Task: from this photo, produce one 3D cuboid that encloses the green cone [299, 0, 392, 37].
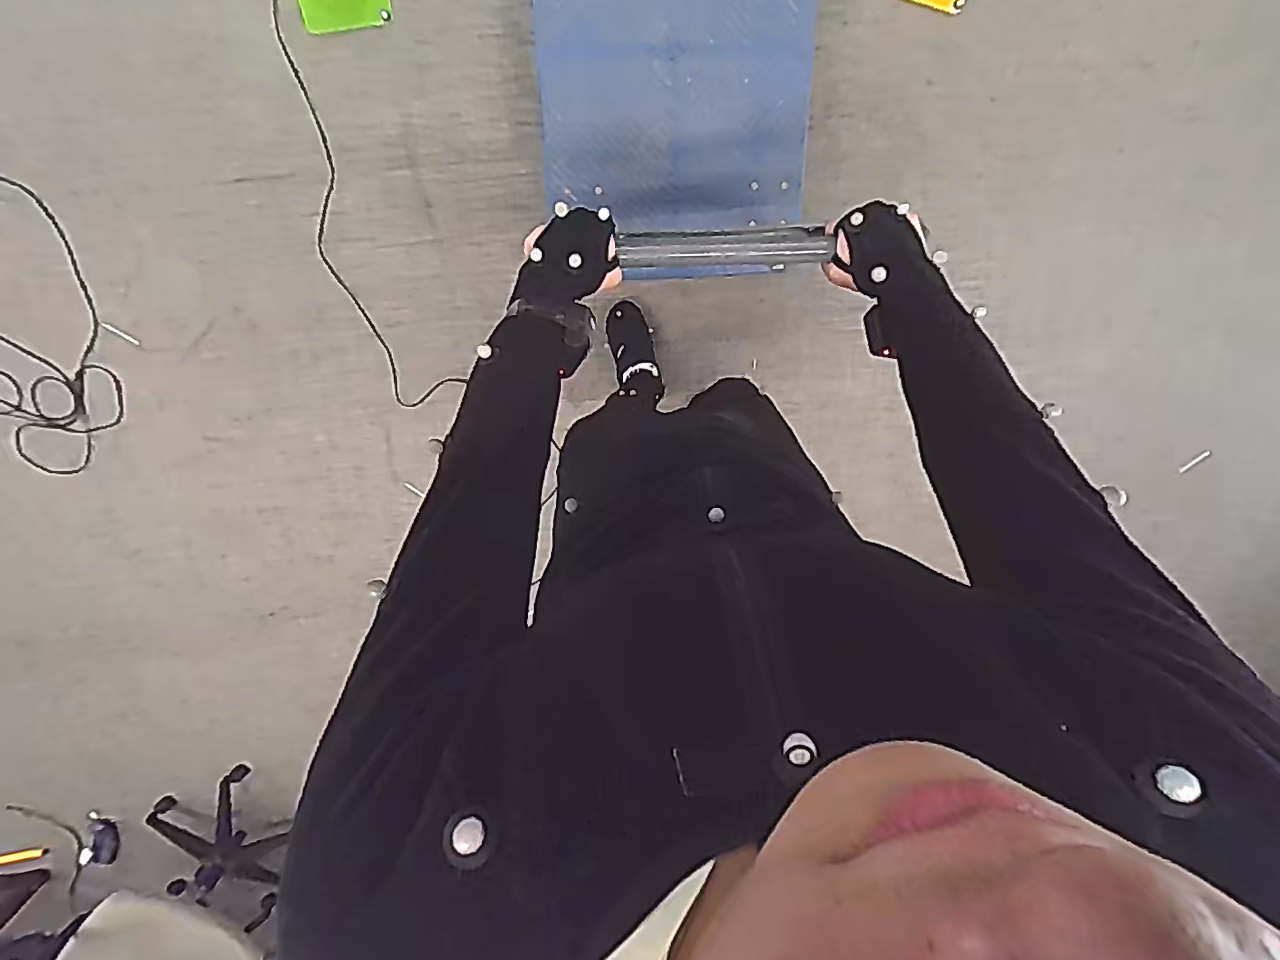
[{"bbox_3d":[-0.664,-1.045,1.026,0.202,0.368,0.200,-7,111,3],"label":"green cone"}]
